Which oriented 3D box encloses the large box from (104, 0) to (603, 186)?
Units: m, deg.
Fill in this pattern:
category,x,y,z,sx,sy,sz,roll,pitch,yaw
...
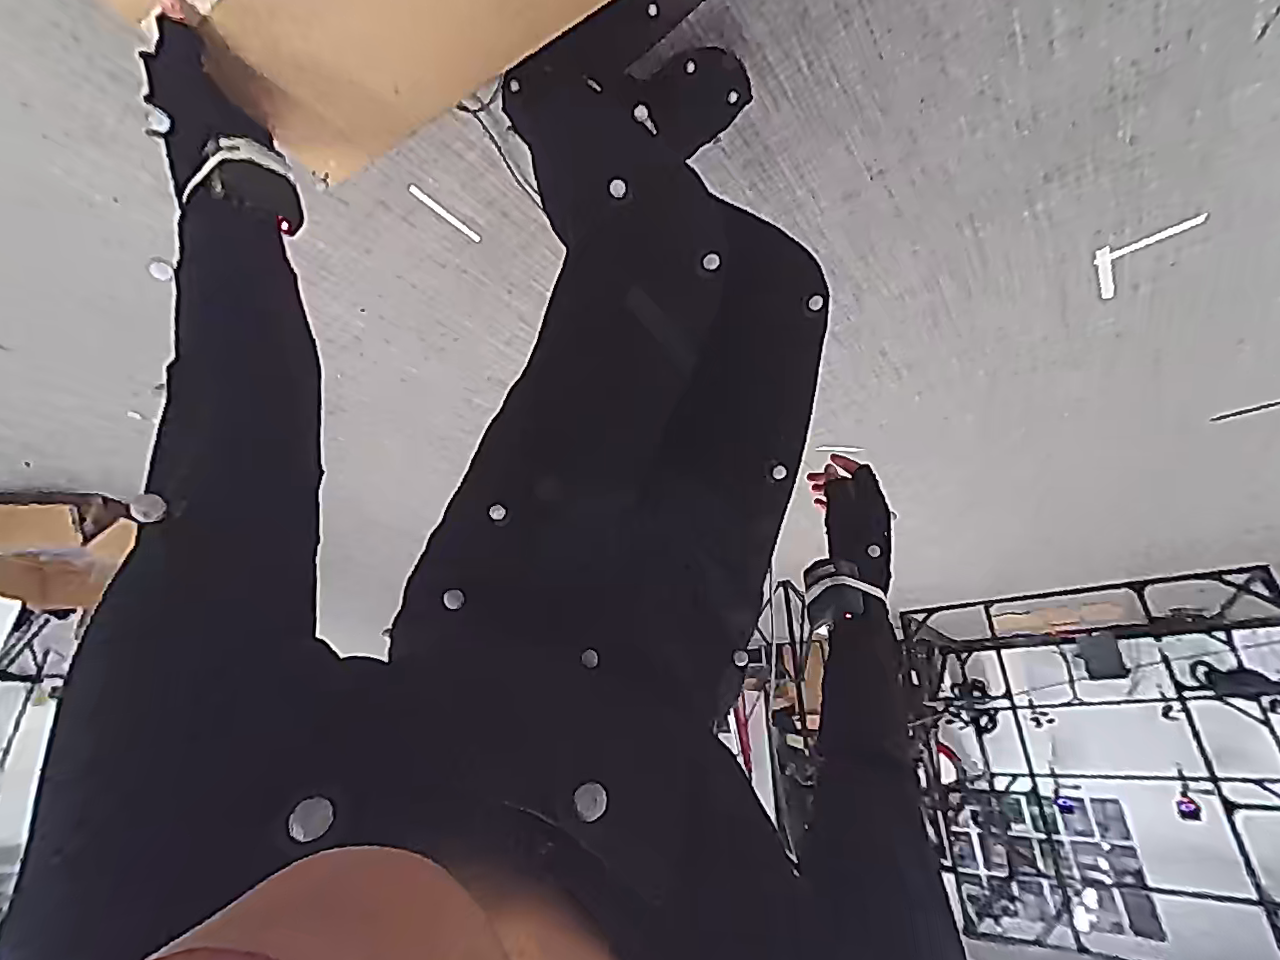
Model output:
category,x,y,z,sx,sy,sz,roll,pitch,yaw
large box,-0.230,-0.544,0.432,0.408,0.320,0.320,-13,153,26
